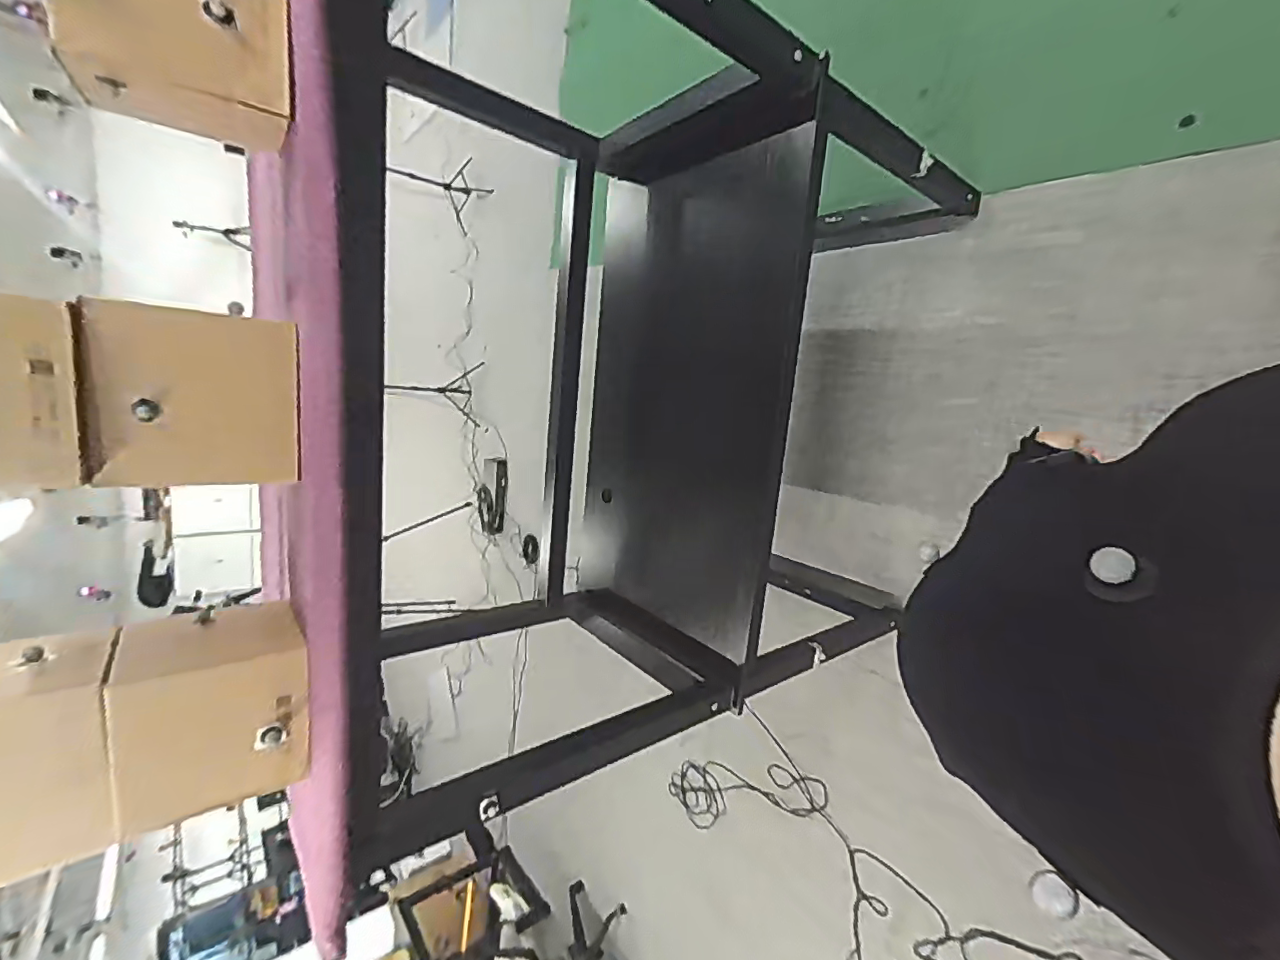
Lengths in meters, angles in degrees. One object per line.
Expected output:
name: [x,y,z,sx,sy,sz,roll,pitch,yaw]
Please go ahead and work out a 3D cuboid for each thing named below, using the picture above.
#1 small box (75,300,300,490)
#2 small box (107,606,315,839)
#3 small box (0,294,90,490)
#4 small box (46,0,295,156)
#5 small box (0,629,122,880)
small box: [-0.481,-0.093,0.598,0.168,0.176,0.179,18,105,51]
small box: [-0.489,0.257,0.629,0.179,0.176,0.168,11,101,49]
small box: [-0.604,-0.080,0.490,0.179,0.176,0.168,10,100,51]
small box: [-0.445,-0.445,0.531,0.179,0.176,0.168,22,110,51]
small box: [-0.619,0.268,0.528,0.168,0.176,0.179,9,100,50]
